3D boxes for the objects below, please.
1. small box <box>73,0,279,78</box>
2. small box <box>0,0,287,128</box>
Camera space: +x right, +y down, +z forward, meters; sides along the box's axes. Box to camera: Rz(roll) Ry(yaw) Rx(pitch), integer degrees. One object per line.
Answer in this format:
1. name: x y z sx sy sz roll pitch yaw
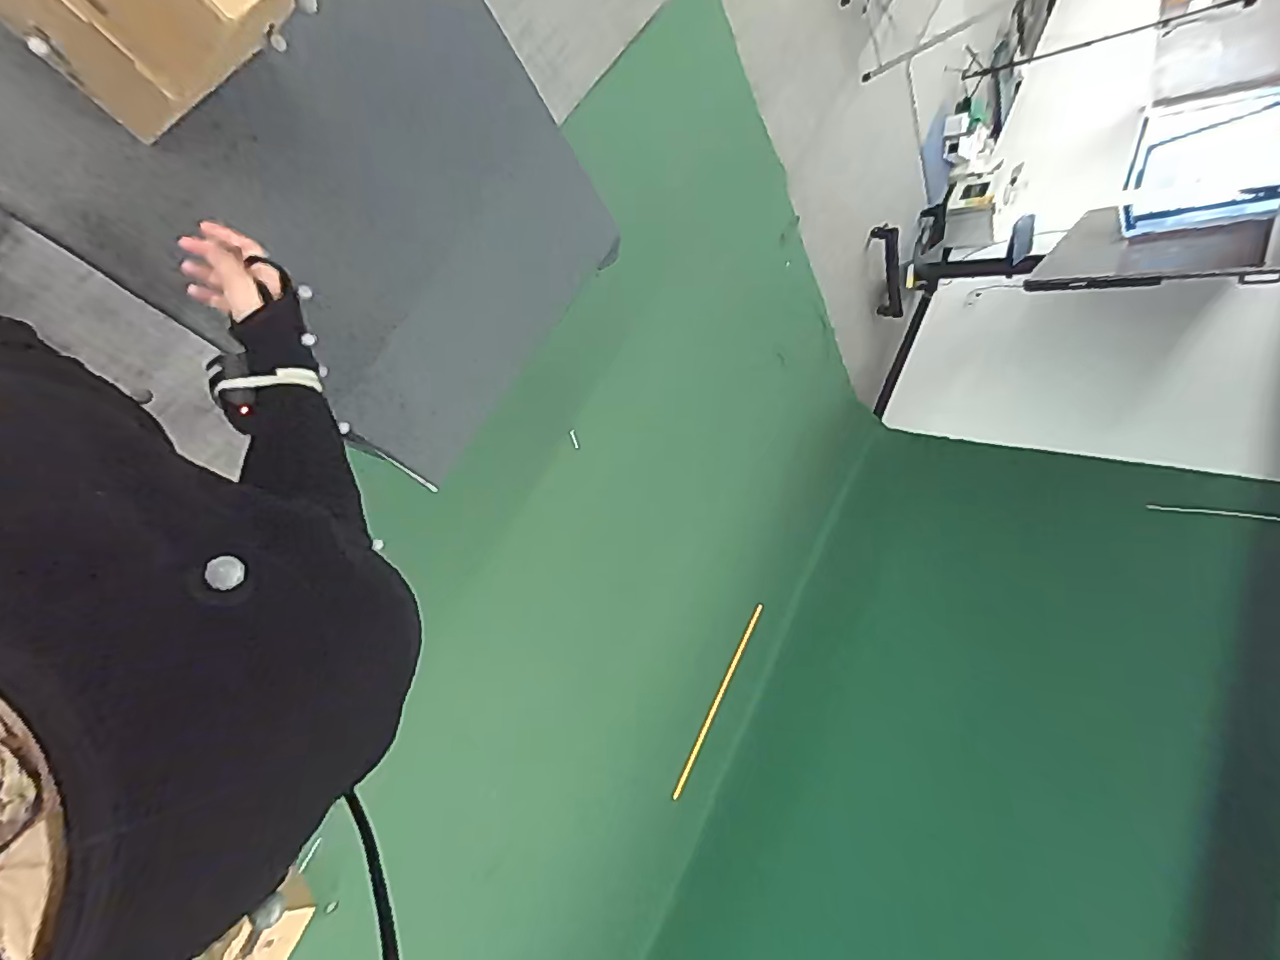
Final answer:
1. small box: -0.322 -0.417 0.360 0.179 0.176 0.168 -60 139 -18
2. small box: -0.447 -0.444 0.460 0.179 0.176 0.168 -60 138 -18
